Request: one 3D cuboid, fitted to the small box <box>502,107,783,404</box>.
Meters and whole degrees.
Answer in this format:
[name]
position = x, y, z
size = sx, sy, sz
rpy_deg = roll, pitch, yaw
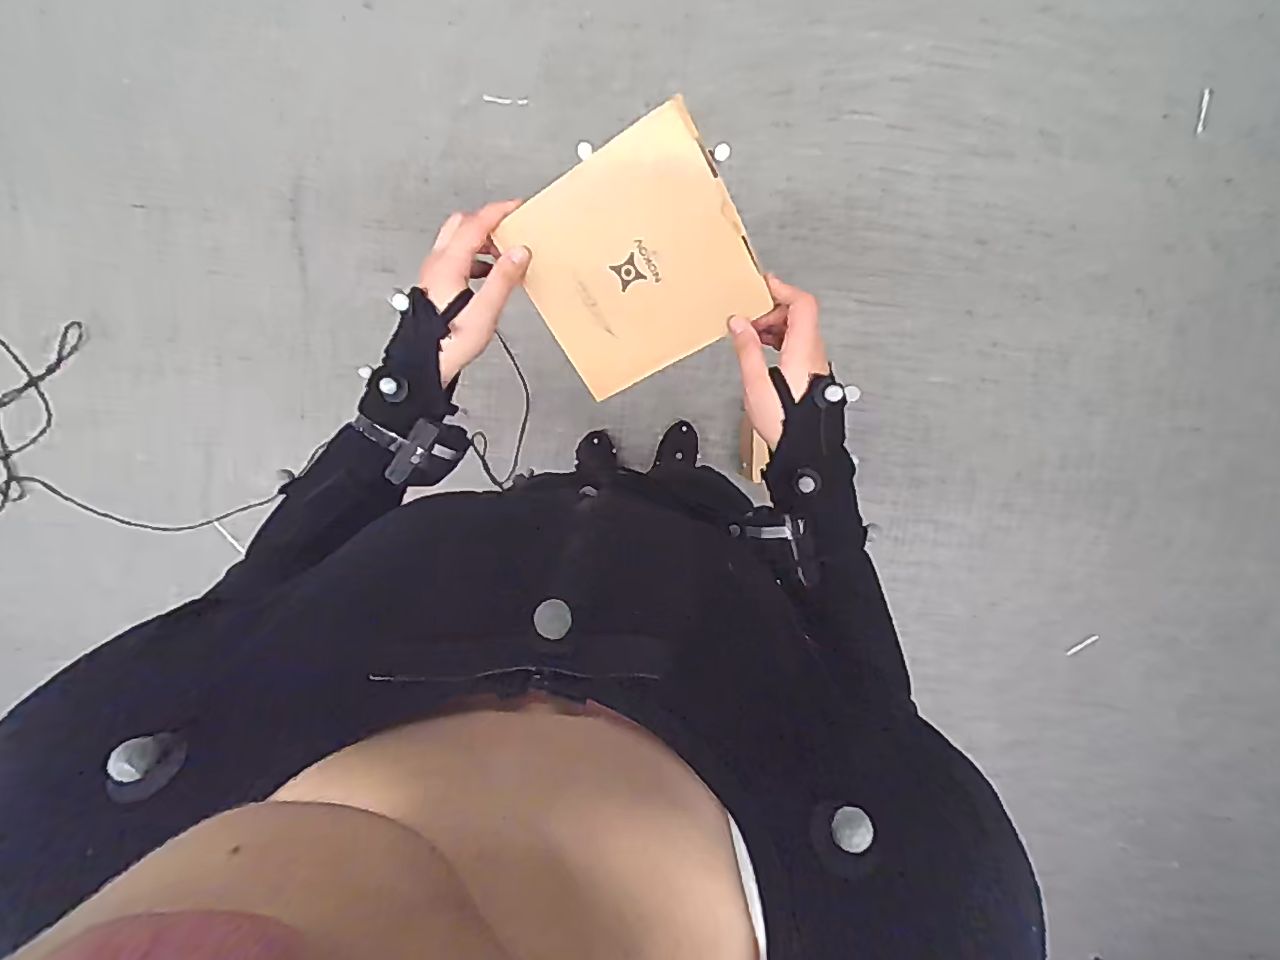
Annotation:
[small box]
position = 0.011, -0.203, 0.497
size = 0.179, 0.176, 0.168
rpy_deg = -24, 113, 21
